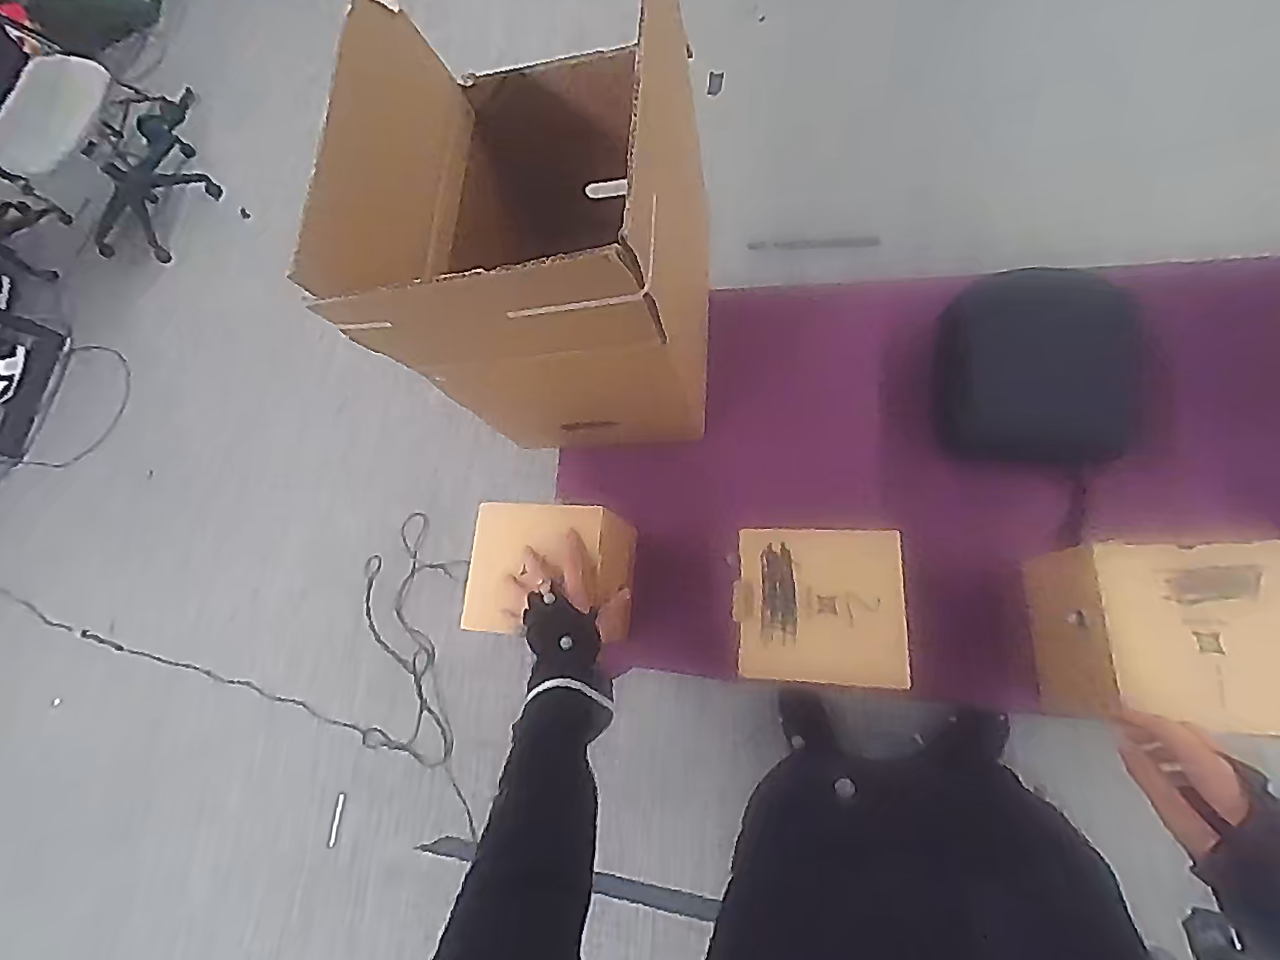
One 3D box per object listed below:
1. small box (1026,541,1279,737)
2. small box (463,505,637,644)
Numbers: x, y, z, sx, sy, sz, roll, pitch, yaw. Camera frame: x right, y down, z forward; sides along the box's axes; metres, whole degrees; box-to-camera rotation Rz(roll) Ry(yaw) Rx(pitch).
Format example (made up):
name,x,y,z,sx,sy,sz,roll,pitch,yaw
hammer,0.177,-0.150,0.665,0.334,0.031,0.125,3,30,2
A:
name,x,y,z,sx,sy,sz,roll,pitch,yaw
small box,0.549,0.165,0.580,0.168,0.176,0.179,-3,75,14
small box,-0.114,0.135,0.750,0.179,0.176,0.168,1,75,14
